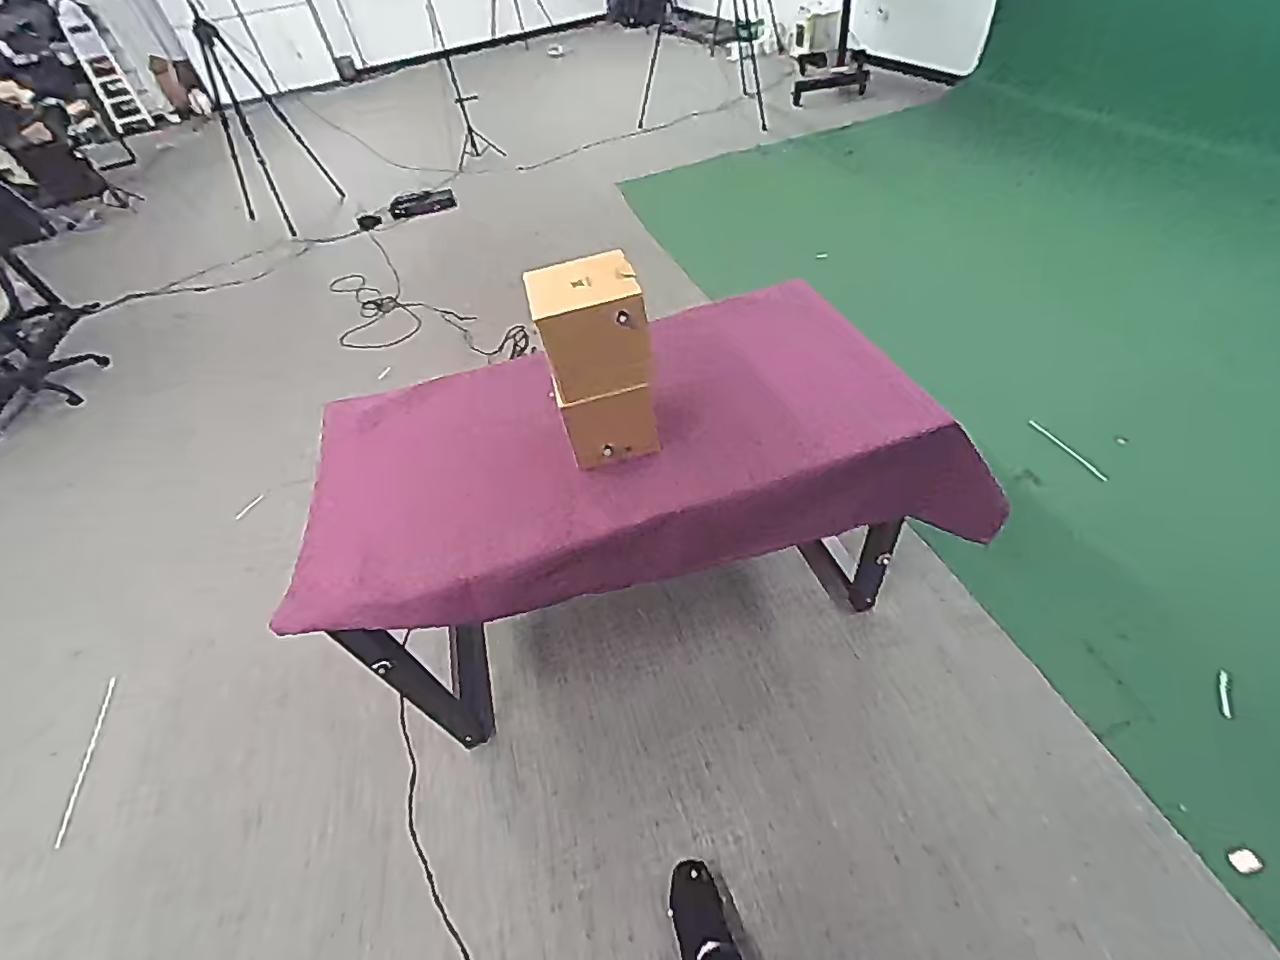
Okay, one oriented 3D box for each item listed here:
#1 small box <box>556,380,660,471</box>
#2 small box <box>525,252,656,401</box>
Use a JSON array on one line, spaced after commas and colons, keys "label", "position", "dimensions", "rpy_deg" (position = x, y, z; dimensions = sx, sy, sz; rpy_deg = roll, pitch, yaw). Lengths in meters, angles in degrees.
[{"label": "small box", "position": [-0.066, -0.147, 1.040], "dimensions": [0.168, 0.176, 0.179], "rpy_deg": [-15, 48, -2]}, {"label": "small box", "position": [-0.082, -0.258, 0.924], "dimensions": [0.179, 0.176, 0.168], "rpy_deg": [-16, 47, -4]}]
